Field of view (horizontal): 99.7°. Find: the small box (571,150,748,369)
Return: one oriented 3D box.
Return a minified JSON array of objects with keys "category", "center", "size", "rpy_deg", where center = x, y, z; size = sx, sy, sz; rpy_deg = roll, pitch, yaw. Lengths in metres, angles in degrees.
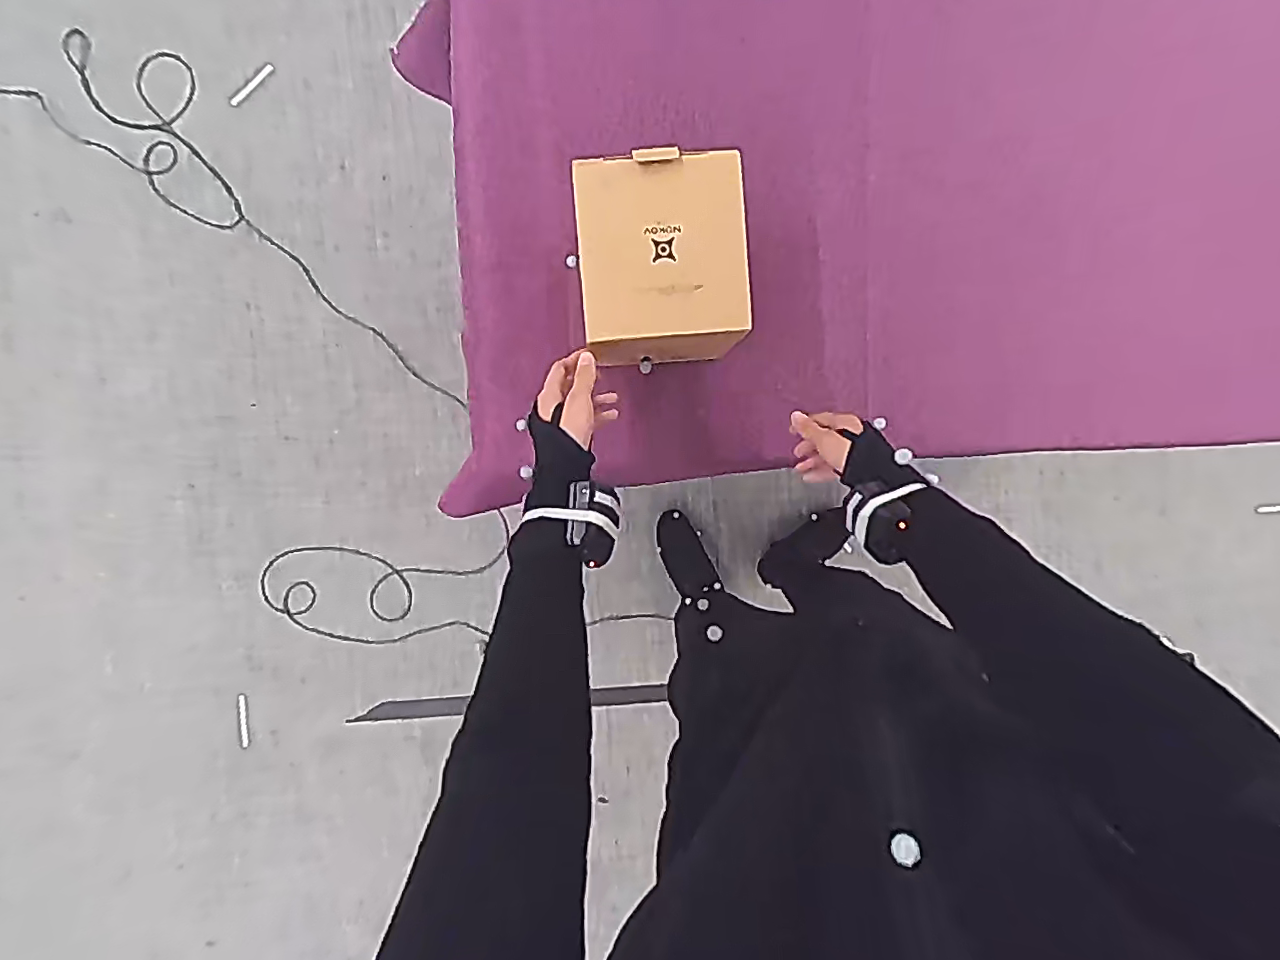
[{"category":"small box","center":[0.015,-0.228,0.597],"size":[0.168,0.176,0.179],"rpy_deg":[-4,93,-2]}]
